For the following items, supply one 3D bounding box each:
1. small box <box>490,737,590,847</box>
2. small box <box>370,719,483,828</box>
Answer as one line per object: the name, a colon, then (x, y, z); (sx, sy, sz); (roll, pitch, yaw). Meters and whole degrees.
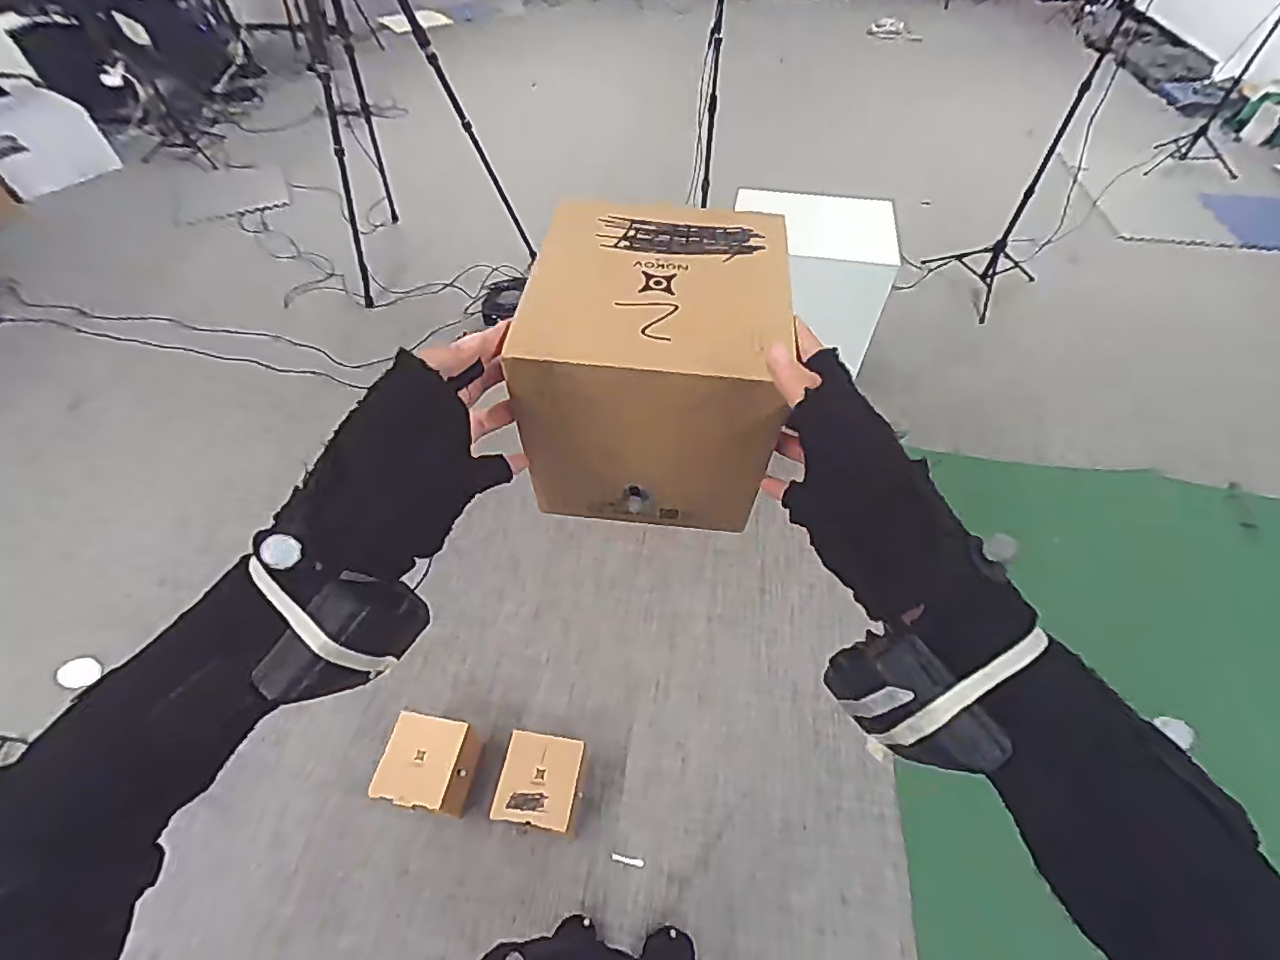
small box: (-0.212, 0.702, 1.212); (0.168, 0.176, 0.179); (7, 51, 7)
small box: (-0.475, 0.675, 1.242); (0.168, 0.176, 0.179); (7, 52, 7)
